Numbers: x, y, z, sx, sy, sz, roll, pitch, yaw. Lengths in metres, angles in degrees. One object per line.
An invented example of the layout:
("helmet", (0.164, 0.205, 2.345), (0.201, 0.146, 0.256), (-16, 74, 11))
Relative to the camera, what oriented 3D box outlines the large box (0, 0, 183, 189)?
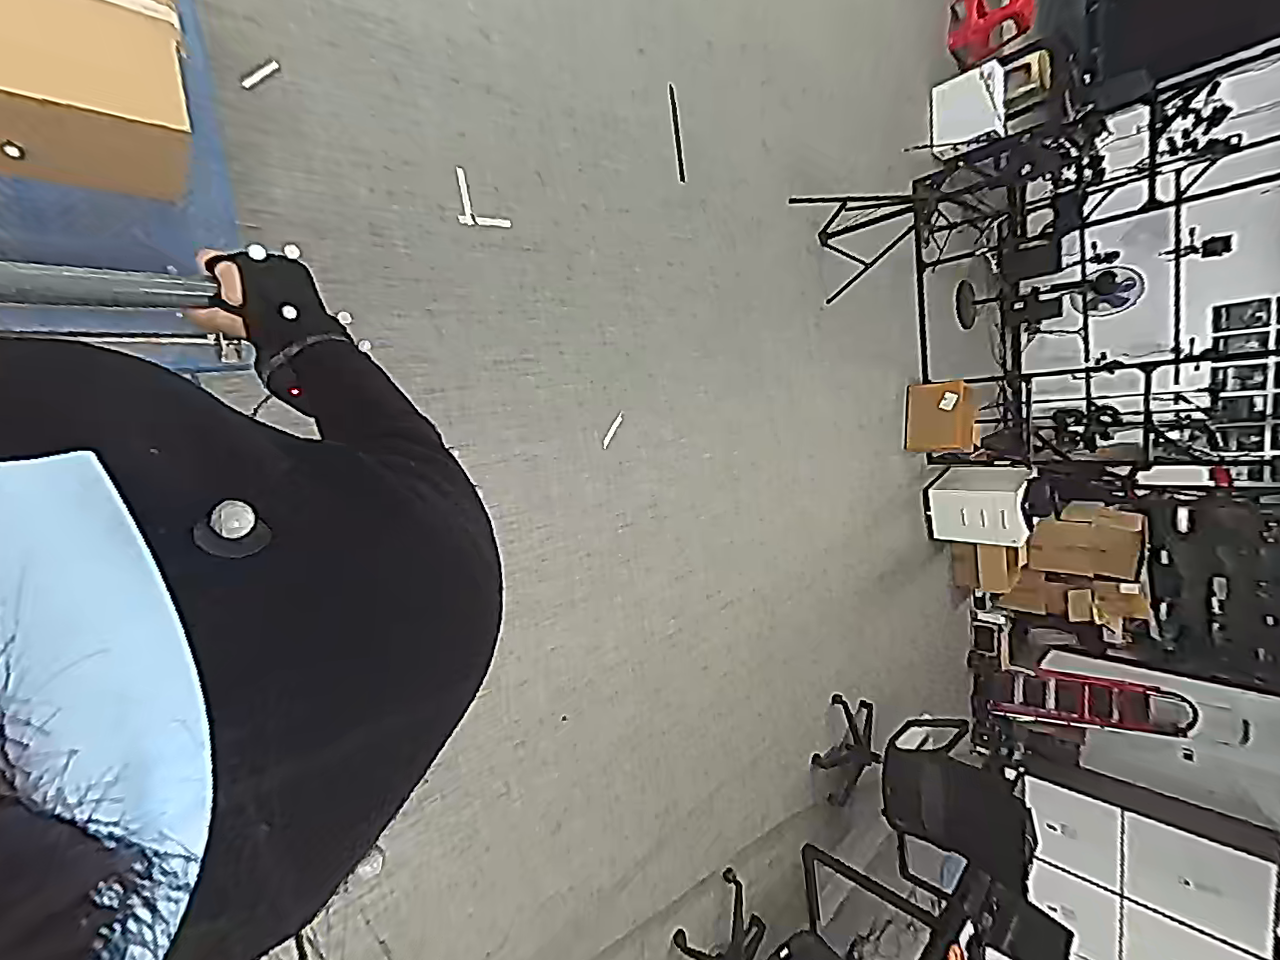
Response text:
("large box", (-0.950, -0.664, 0.776), (0.408, 0.320, 0.320), (-11, 99, -41))
